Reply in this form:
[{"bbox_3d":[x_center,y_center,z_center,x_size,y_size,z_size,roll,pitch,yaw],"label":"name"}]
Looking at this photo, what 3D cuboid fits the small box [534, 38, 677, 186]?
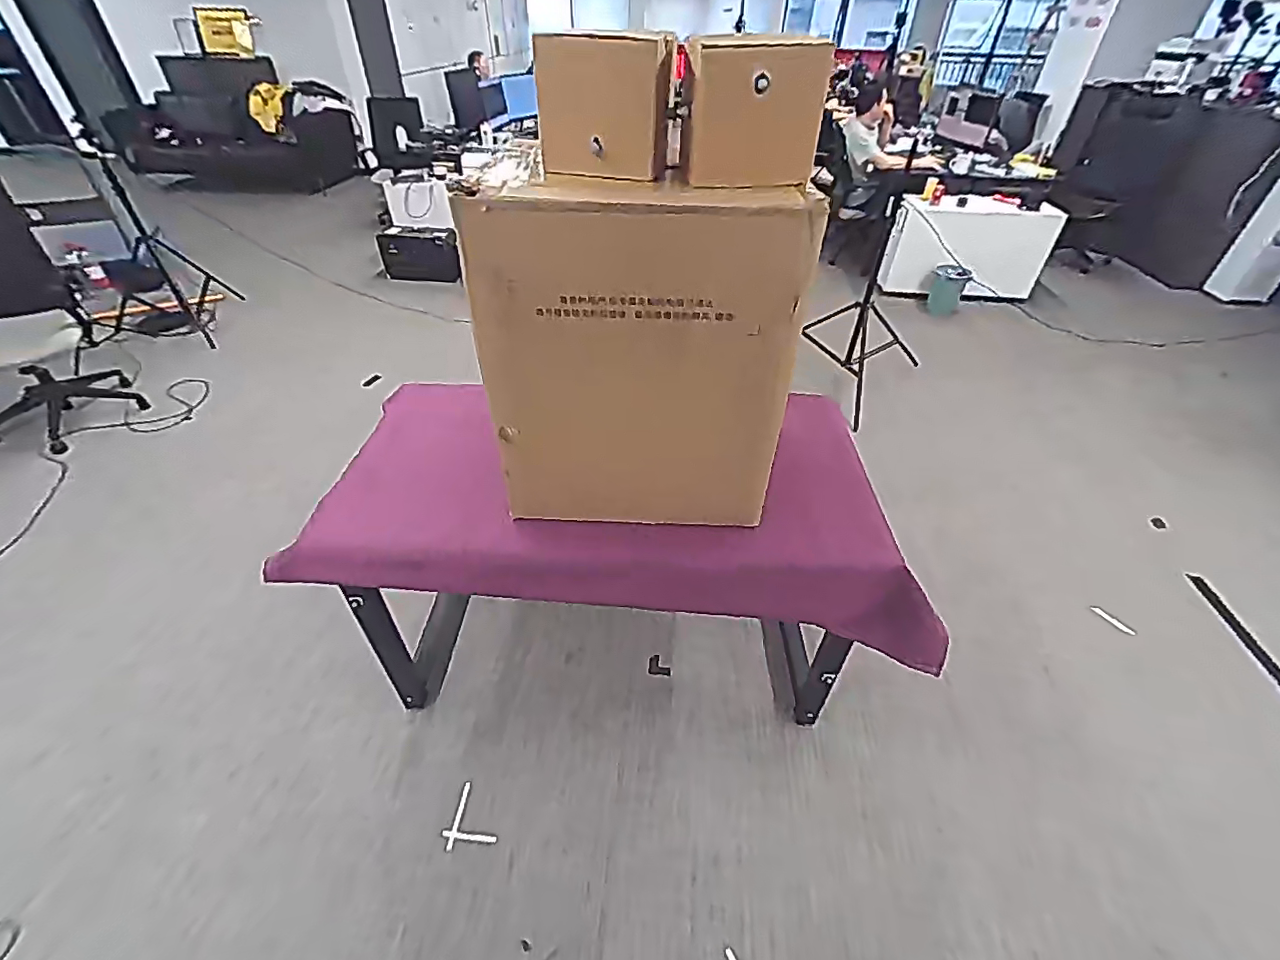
[{"bbox_3d":[-0.048,-0.566,0.836,0.179,0.176,0.168,10,41,7],"label":"small box"}]
